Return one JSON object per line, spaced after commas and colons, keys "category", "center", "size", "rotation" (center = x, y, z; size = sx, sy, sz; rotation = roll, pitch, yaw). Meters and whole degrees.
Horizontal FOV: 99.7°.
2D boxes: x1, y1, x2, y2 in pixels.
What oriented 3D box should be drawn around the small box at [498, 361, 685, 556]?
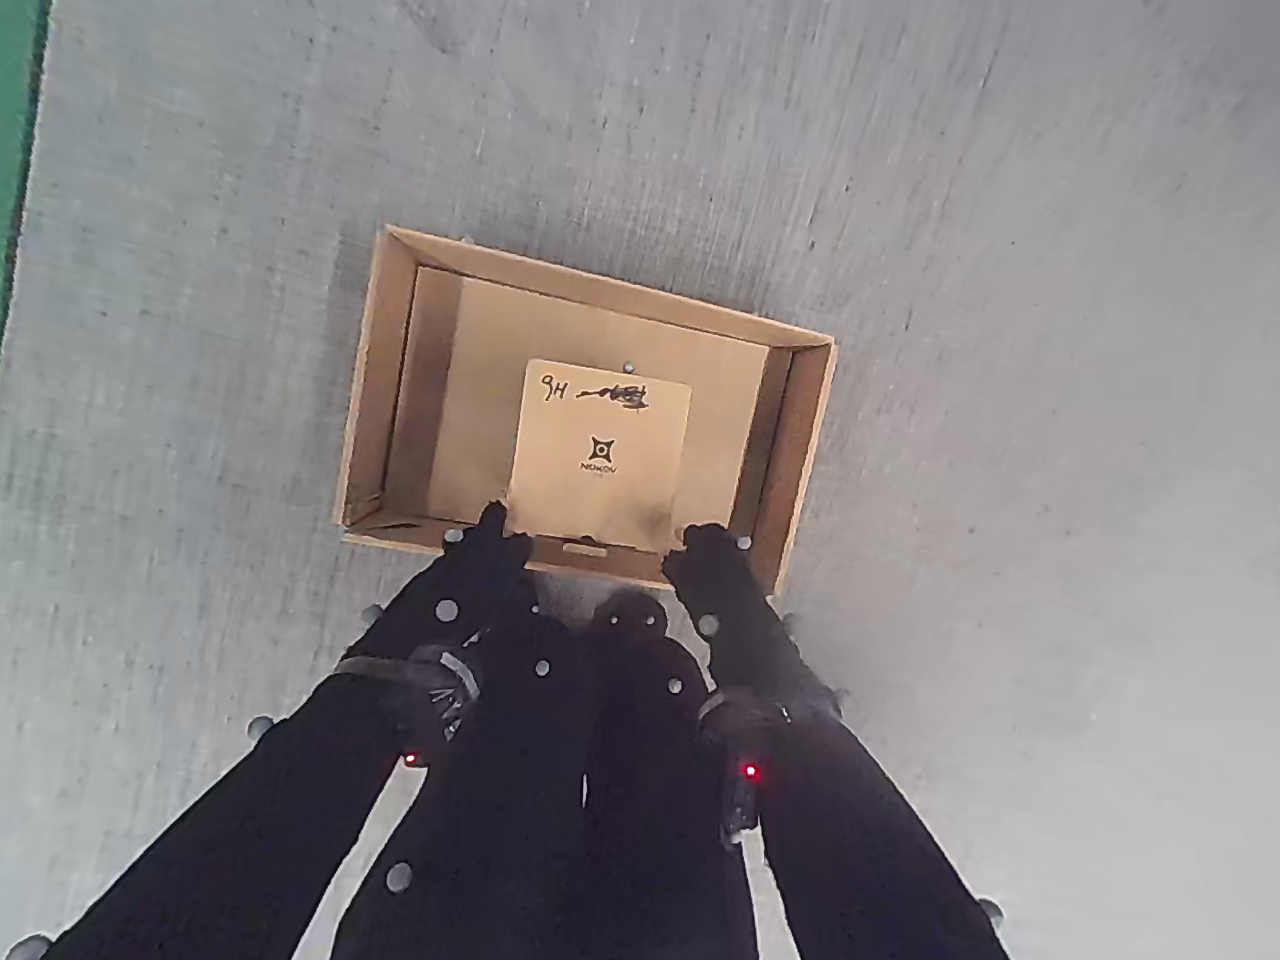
{"category": "small box", "center": [-0.058, -0.027, 0.620], "size": [0.168, 0.176, 0.179], "rotation": [9, 95, -9]}
